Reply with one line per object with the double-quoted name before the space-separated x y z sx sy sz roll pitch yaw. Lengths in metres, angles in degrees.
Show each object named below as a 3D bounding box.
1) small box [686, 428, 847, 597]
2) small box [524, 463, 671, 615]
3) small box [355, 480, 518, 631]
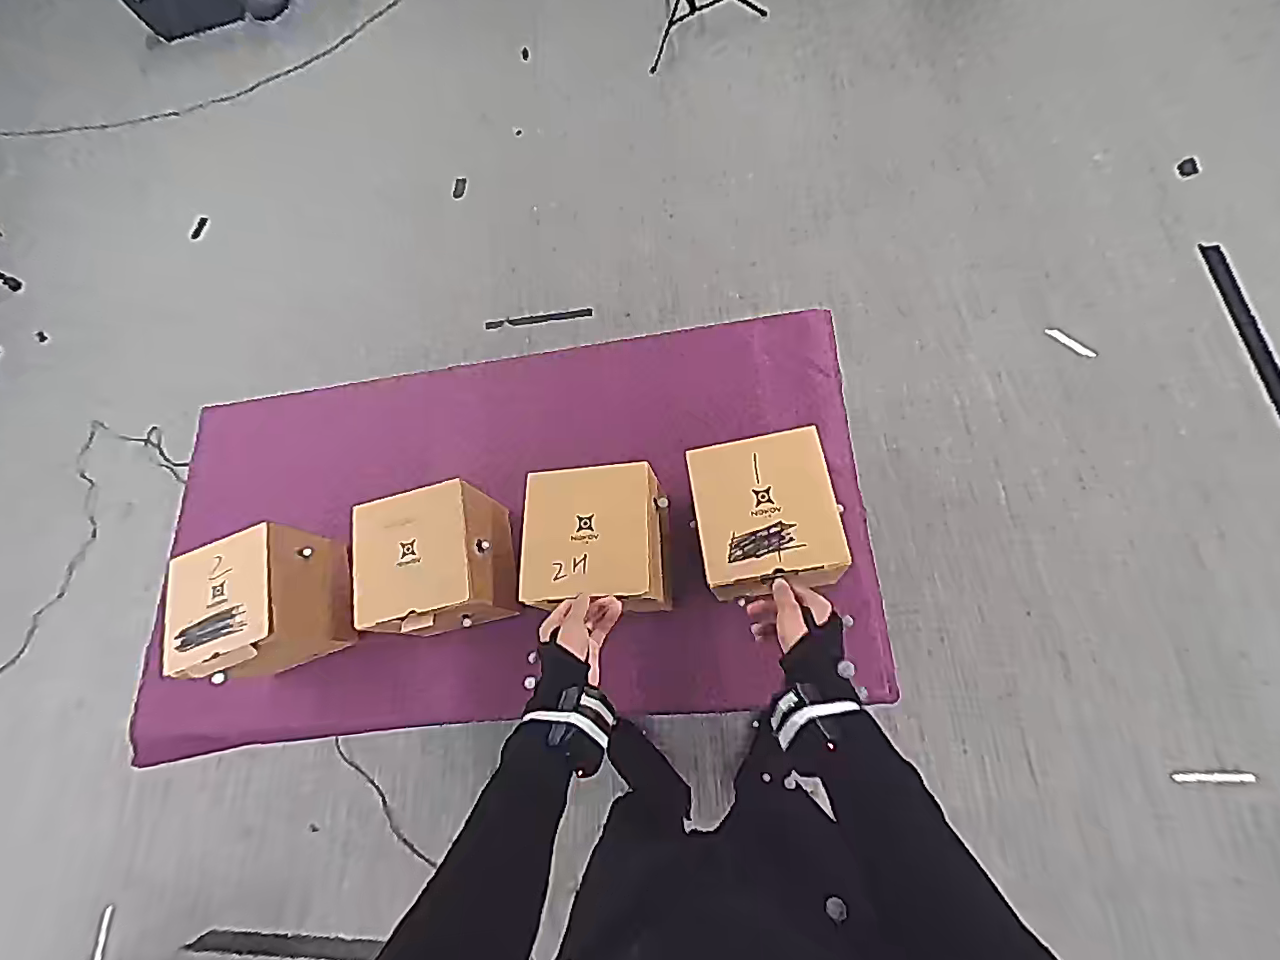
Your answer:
"small box" 0.164 0.055 0.722 0.168 0.176 0.179 -11 69 8
"small box" -0.050 0.090 0.756 0.168 0.176 0.179 -5 71 10
"small box" -0.292 0.122 0.798 0.168 0.176 0.179 -14 69 6
